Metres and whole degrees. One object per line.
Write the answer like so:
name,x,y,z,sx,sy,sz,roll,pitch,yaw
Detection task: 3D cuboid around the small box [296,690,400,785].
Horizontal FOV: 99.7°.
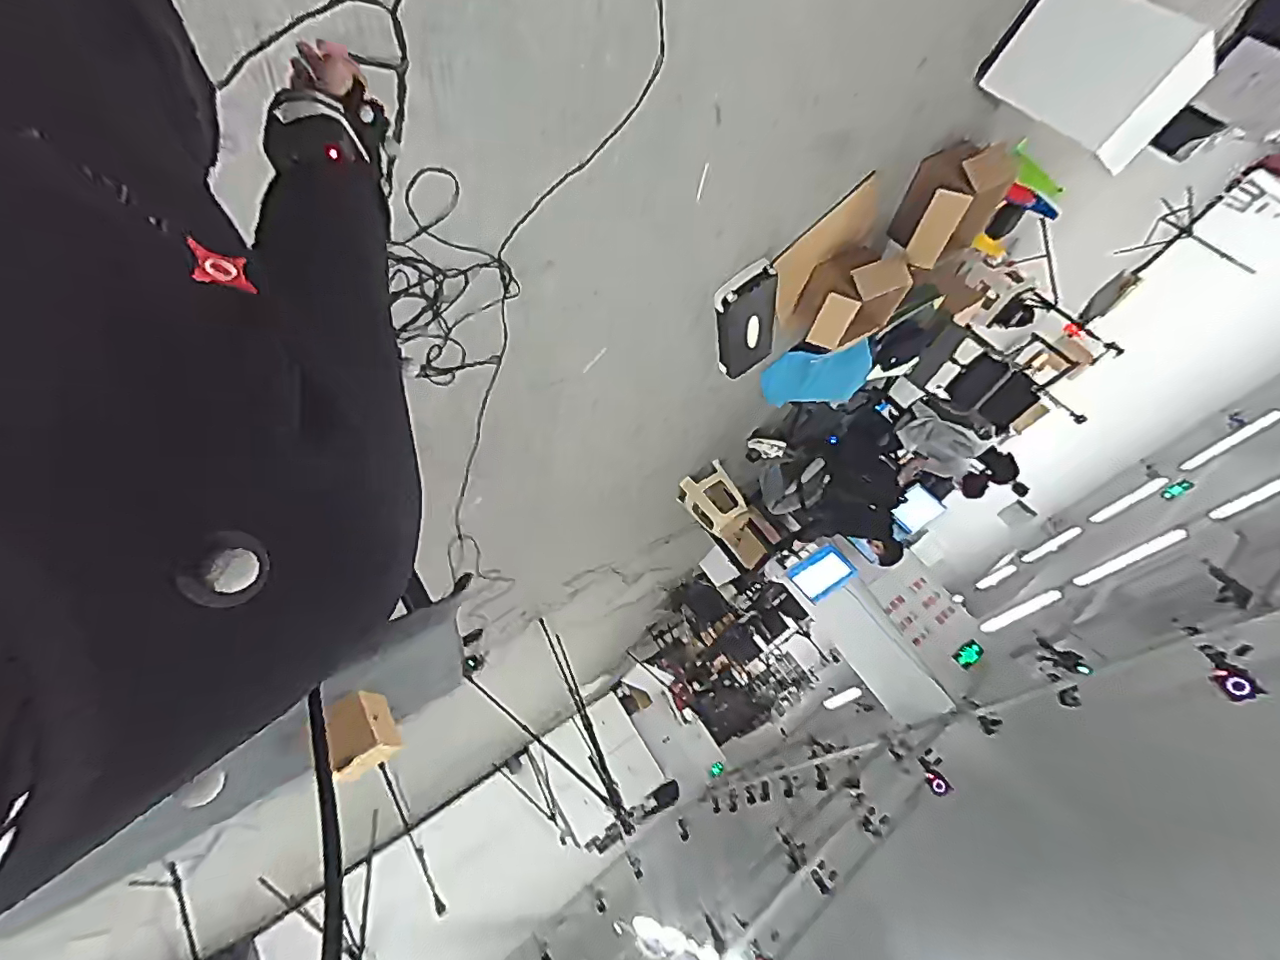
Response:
small box,-0.792,0.694,1.469,0.168,0.176,0.179,-30,159,-14
